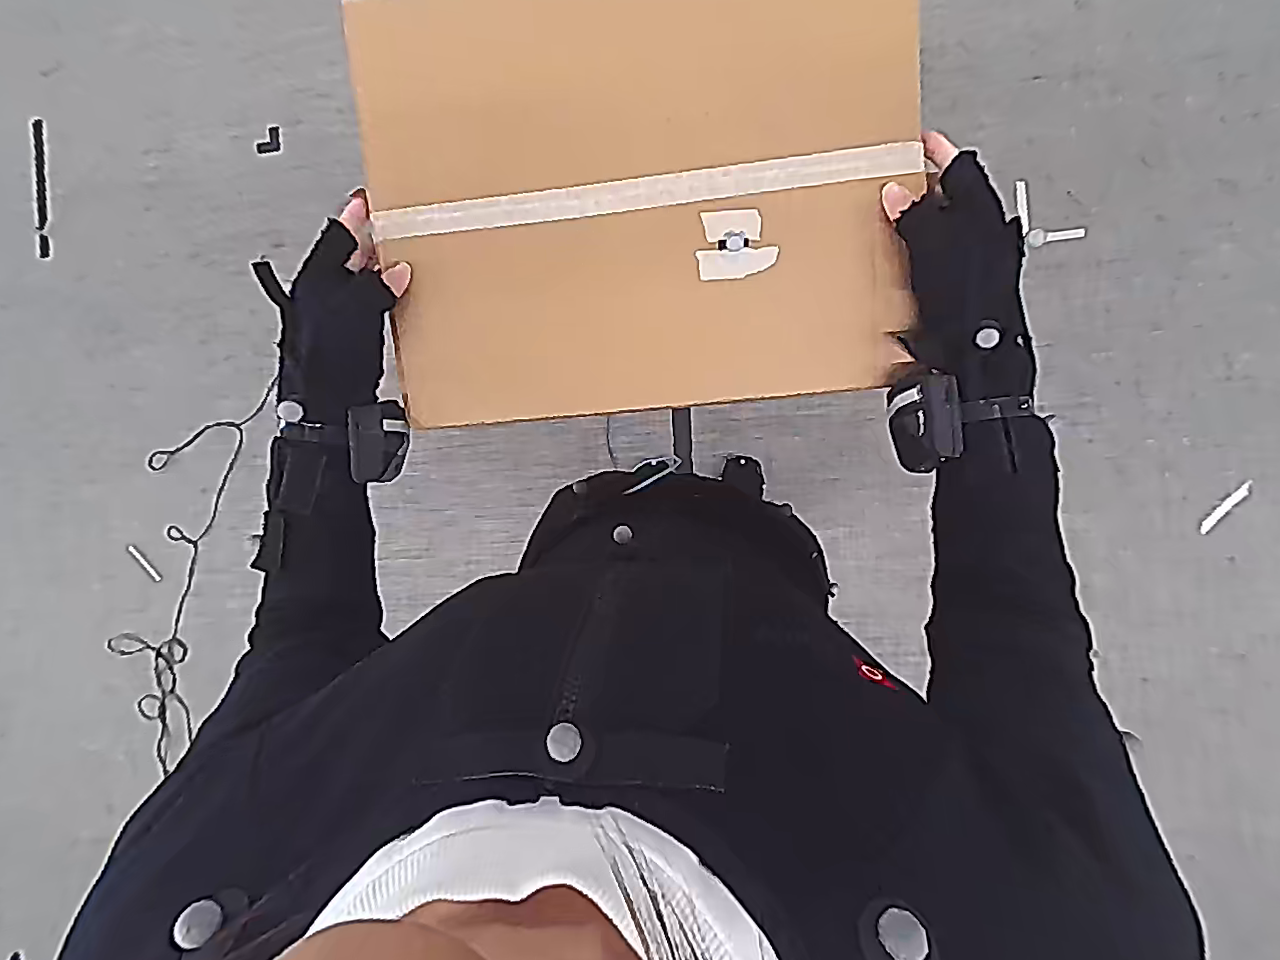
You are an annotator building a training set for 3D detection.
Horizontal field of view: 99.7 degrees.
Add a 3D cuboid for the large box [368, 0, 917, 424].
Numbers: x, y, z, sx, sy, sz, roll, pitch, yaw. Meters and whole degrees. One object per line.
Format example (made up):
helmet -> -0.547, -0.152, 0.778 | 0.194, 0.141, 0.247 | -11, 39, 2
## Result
large box -> 0.011, -0.237, 0.562 | 0.408, 0.320, 0.320 | -5, 99, 4
